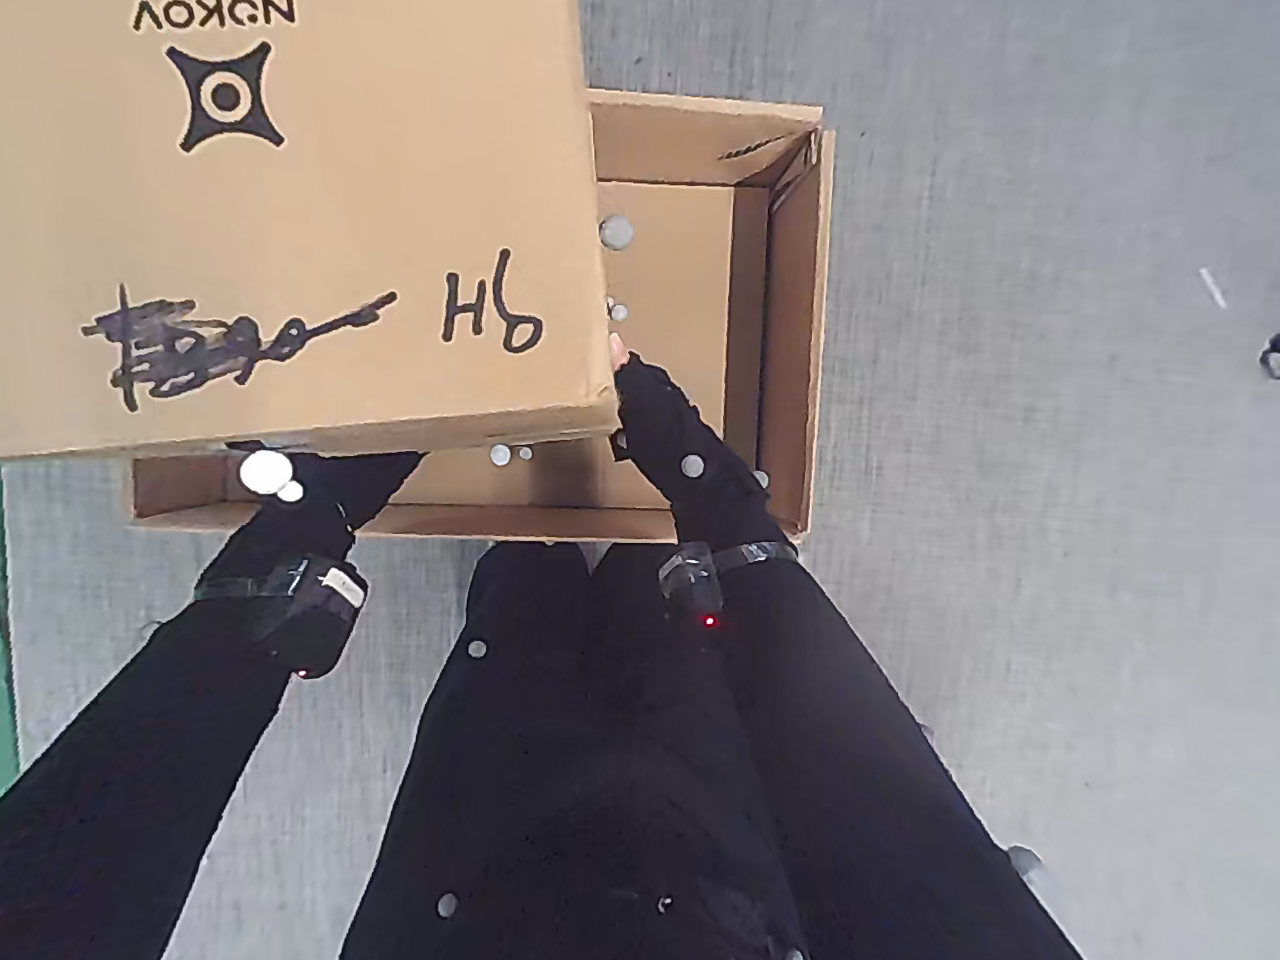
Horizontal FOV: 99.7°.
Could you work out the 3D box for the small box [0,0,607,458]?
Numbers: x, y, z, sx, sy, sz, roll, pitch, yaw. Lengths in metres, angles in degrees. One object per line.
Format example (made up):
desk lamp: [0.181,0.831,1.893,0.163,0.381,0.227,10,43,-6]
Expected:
small box: [-0.103,-0.102,0.216,0.168,0.176,0.179,-6,93,-2]
